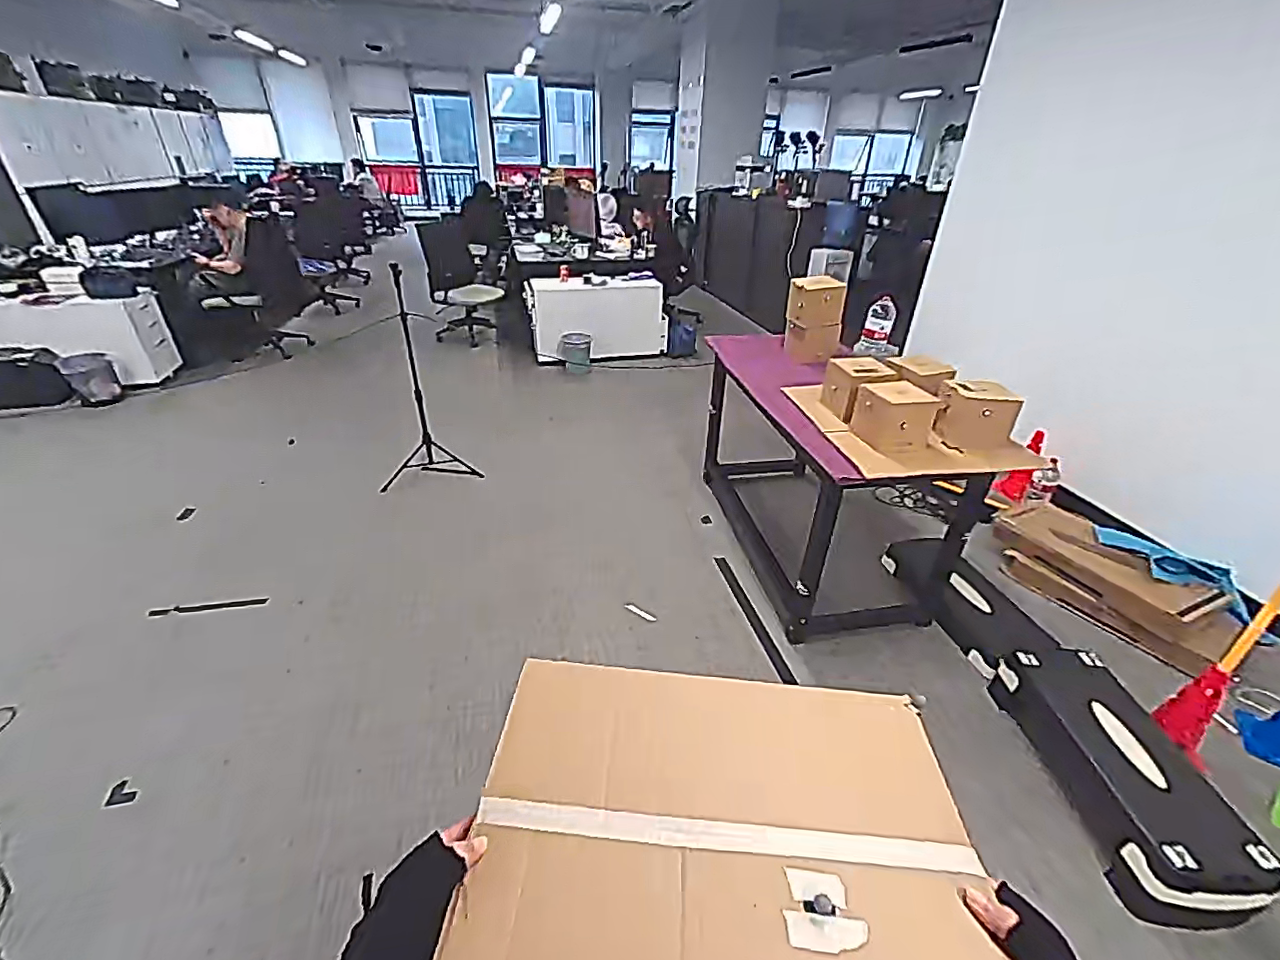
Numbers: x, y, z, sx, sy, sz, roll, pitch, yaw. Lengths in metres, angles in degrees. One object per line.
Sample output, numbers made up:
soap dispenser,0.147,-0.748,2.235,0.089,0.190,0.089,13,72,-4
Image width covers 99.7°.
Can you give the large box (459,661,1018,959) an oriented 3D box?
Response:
large box,0.068,0.418,0.529,0.408,0.320,0.320,6,33,2
